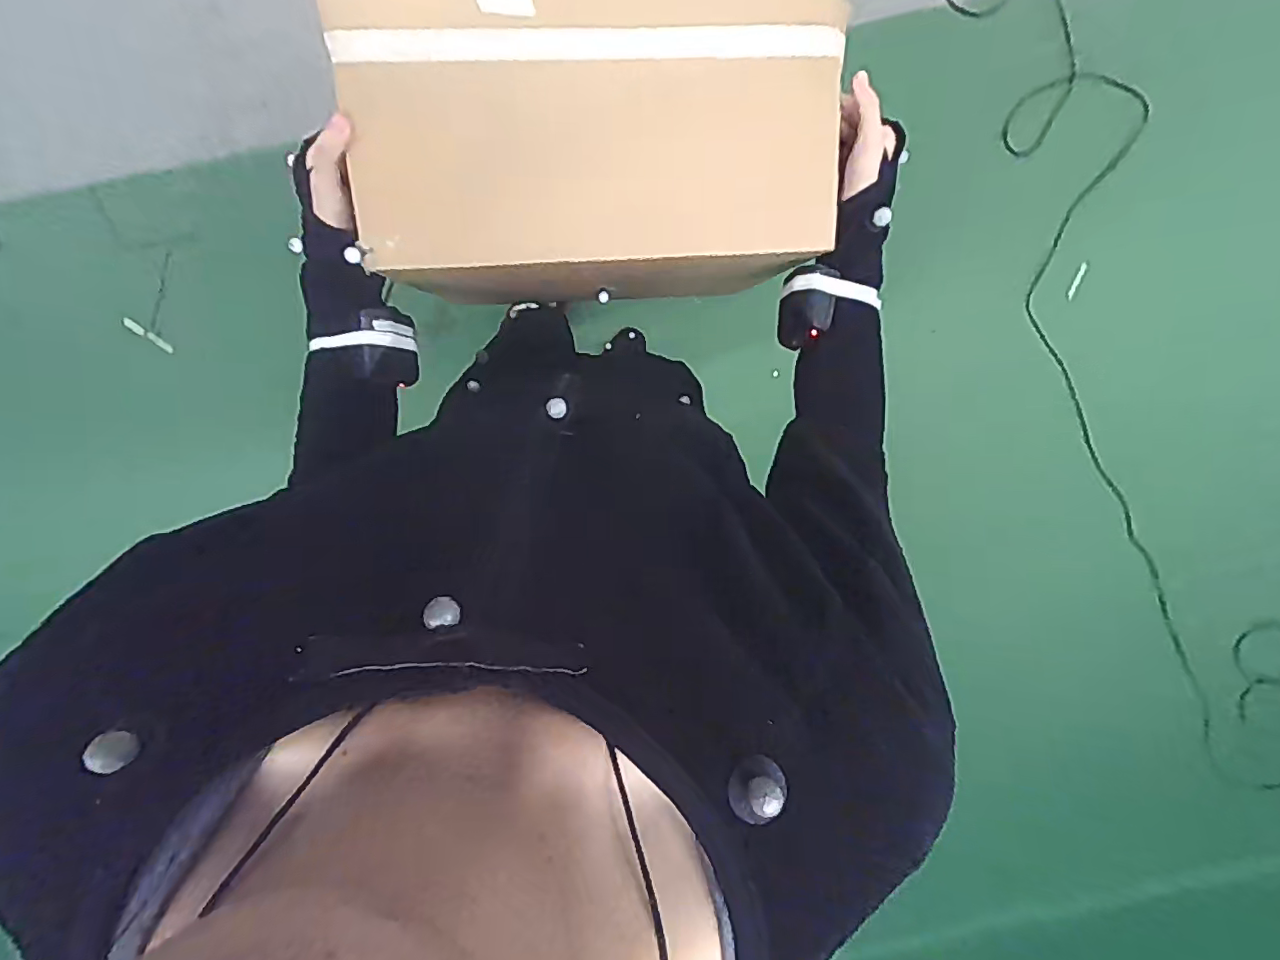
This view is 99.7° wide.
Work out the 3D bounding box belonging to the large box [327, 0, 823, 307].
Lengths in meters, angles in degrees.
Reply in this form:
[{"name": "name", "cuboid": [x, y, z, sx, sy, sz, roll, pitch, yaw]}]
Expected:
[{"name": "large box", "cuboid": [-0.054, -0.373, 0.589, 0.408, 0.320, 0.320, -6, 102, -4]}]
